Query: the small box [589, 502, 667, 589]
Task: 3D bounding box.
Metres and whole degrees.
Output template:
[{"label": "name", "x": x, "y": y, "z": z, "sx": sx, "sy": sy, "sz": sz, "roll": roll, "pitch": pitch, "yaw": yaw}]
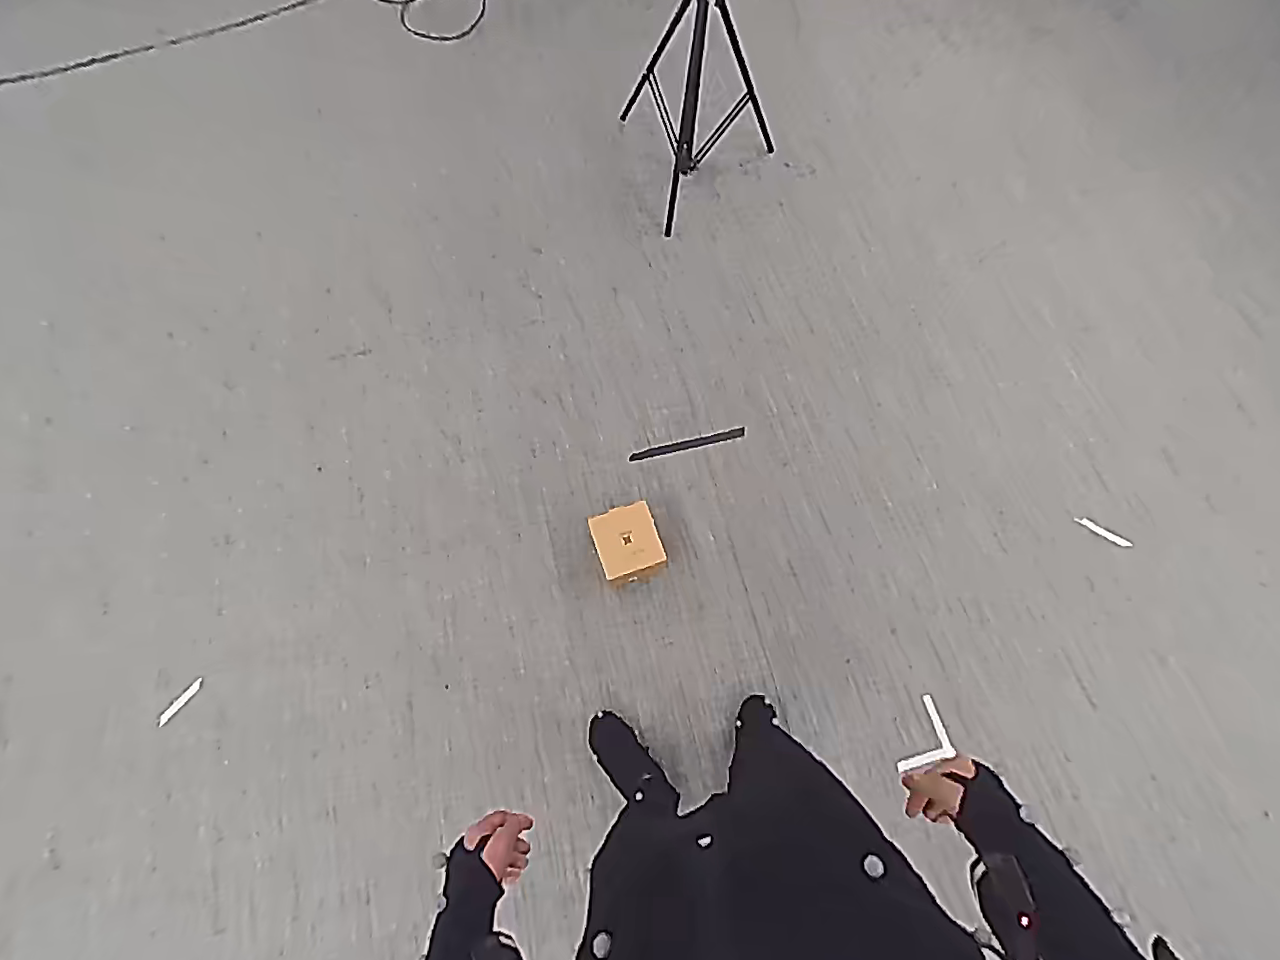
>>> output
[{"label": "small box", "x": -0.035, "y": 0.184, "z": 1.485, "sx": 0.168, "sy": 0.176, "sz": 0.179, "roll": -18, "pitch": 72, "yaw": -6}]
